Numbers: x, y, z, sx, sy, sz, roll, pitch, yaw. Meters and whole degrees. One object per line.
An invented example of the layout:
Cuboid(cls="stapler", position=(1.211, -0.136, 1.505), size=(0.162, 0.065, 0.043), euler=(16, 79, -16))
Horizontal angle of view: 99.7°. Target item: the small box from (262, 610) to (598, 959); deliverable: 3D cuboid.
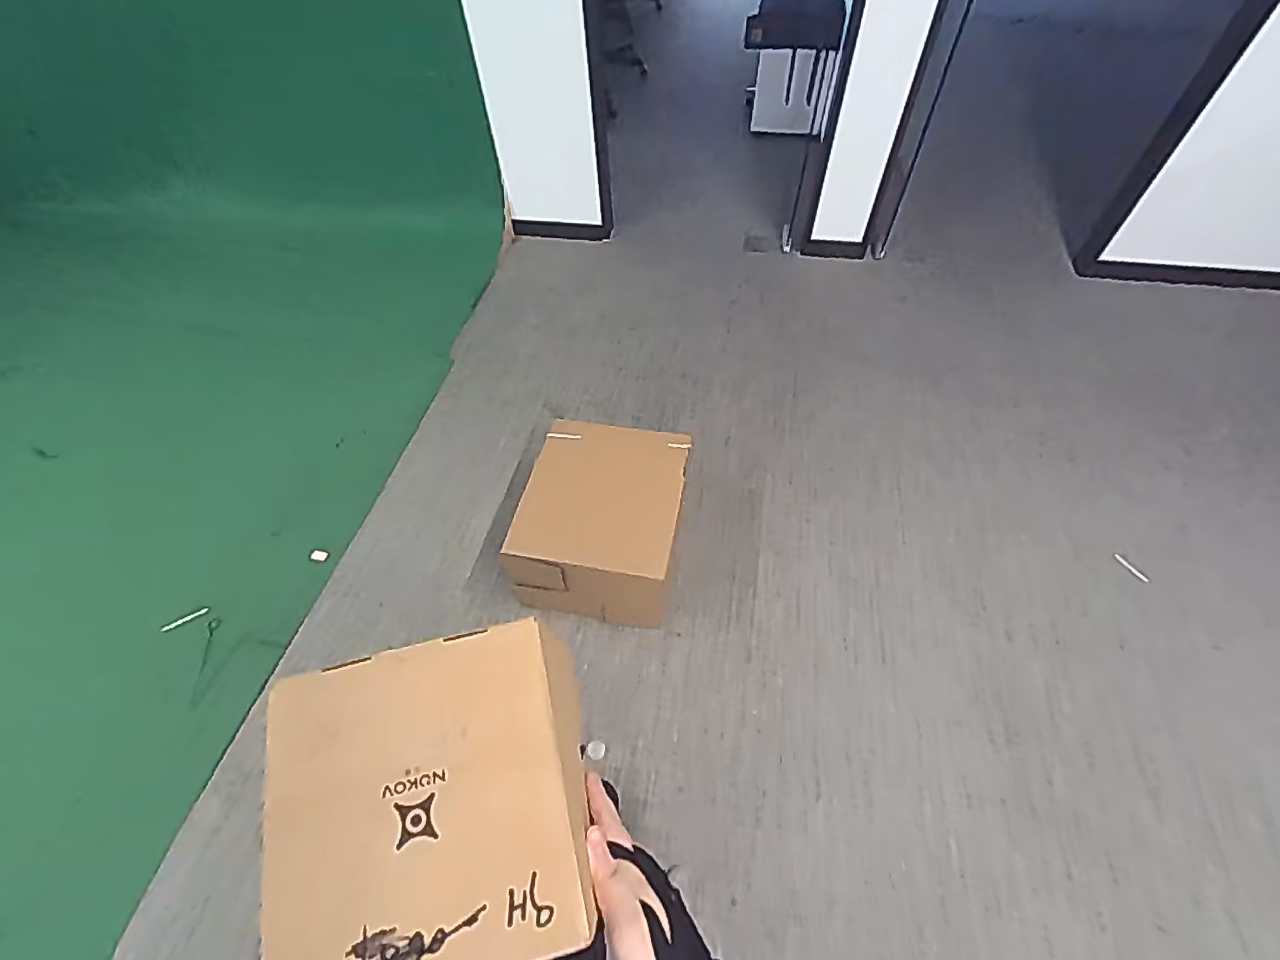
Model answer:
Cuboid(cls="small box", position=(-0.129, 0.212, 0.387), size=(0.168, 0.176, 0.179), euler=(-12, 65, -5))
